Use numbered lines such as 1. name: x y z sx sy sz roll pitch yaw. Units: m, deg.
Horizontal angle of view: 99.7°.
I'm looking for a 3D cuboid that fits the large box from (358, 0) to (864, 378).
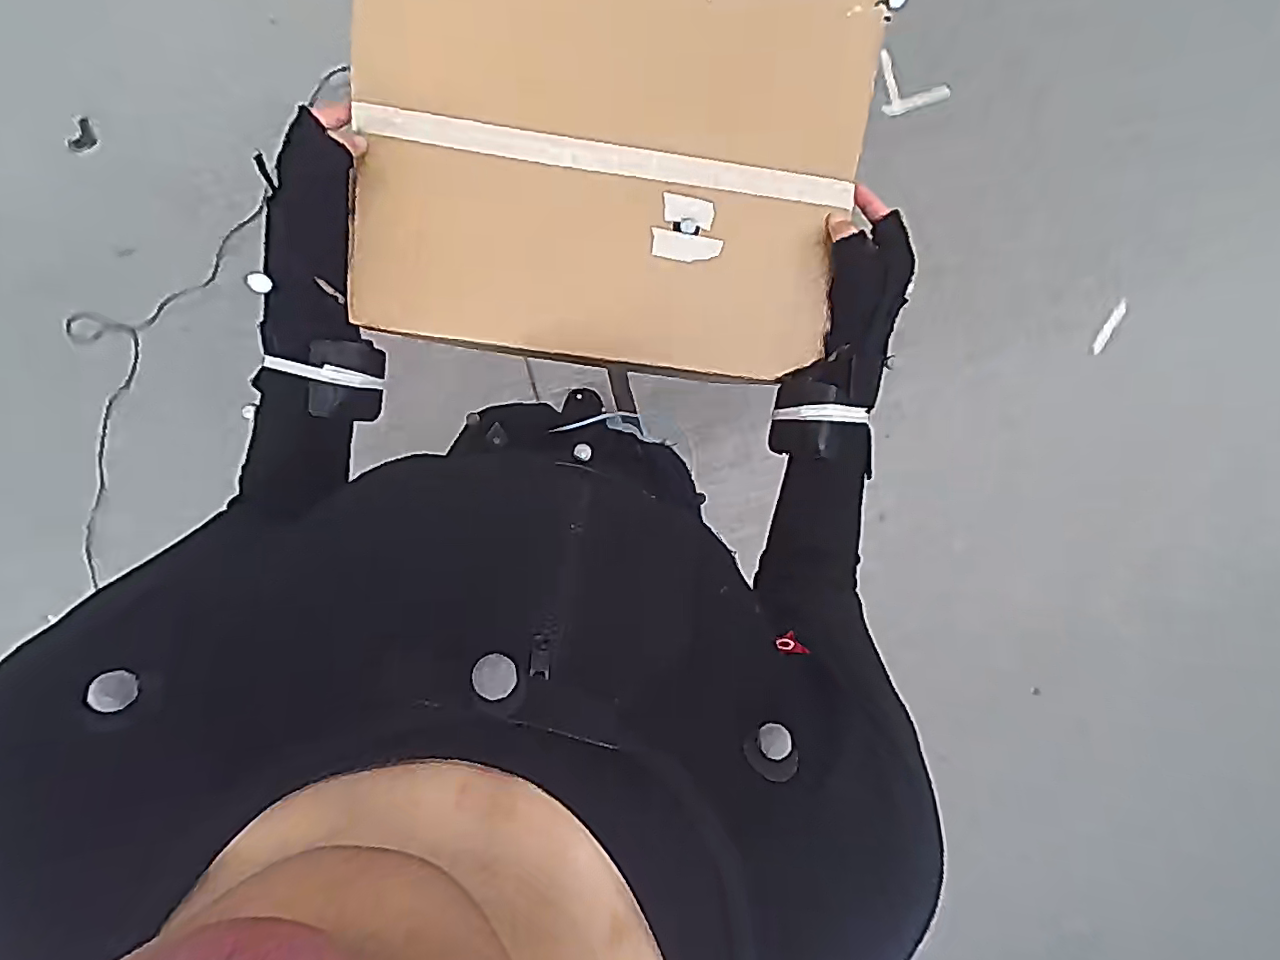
1. large box: -0.041 -0.286 0.593 0.408 0.320 0.320 5 101 -6
